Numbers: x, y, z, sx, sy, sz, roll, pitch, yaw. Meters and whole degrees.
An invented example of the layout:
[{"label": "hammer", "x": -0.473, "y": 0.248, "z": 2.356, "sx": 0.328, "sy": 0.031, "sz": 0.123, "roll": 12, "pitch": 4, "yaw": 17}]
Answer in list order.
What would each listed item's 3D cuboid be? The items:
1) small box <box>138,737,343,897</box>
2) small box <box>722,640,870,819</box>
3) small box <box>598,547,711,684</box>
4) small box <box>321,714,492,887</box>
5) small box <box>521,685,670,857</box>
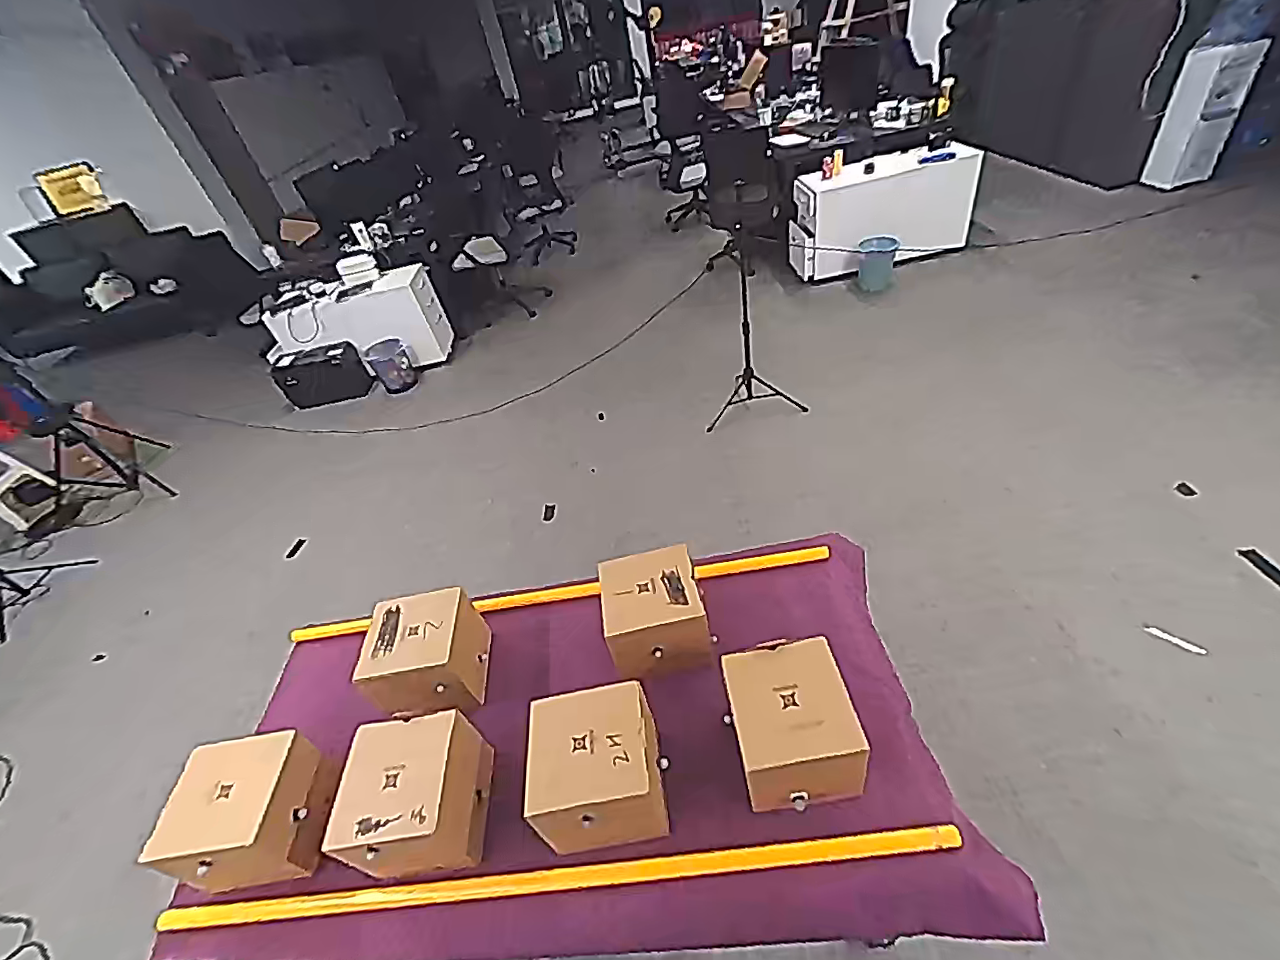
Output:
[{"label": "small box", "x": -0.620, "y": 0.544, "z": 0.872, "sx": 0.179, "sy": 0.176, "sz": 0.168, "roll": -11, "pitch": 40, "yaw": 2}, {"label": "small box", "x": 0.227, "y": 0.373, "z": 0.811, "sx": 0.168, "sy": 0.176, "sz": 0.179, "roll": -13, "pitch": 38, "yaw": 4}, {"label": "small box", "x": 0.030, "y": 0.254, "z": 1.006, "sx": 0.179, "sy": 0.176, "sz": 0.168, "roll": -14, "pitch": 41, "yaw": 3}, {"label": "small box", "x": -0.344, "y": 0.498, "z": 0.841, "sx": 0.168, "sy": 0.176, "sz": 0.179, "roll": -12, "pitch": 40, "yaw": 5}, {"label": "small box", "x": -0.063, "y": 0.442, "z": 0.819, "sx": 0.179, "sy": 0.176, "sz": 0.168, "roll": -13, "pitch": 39, "yaw": 4}]
